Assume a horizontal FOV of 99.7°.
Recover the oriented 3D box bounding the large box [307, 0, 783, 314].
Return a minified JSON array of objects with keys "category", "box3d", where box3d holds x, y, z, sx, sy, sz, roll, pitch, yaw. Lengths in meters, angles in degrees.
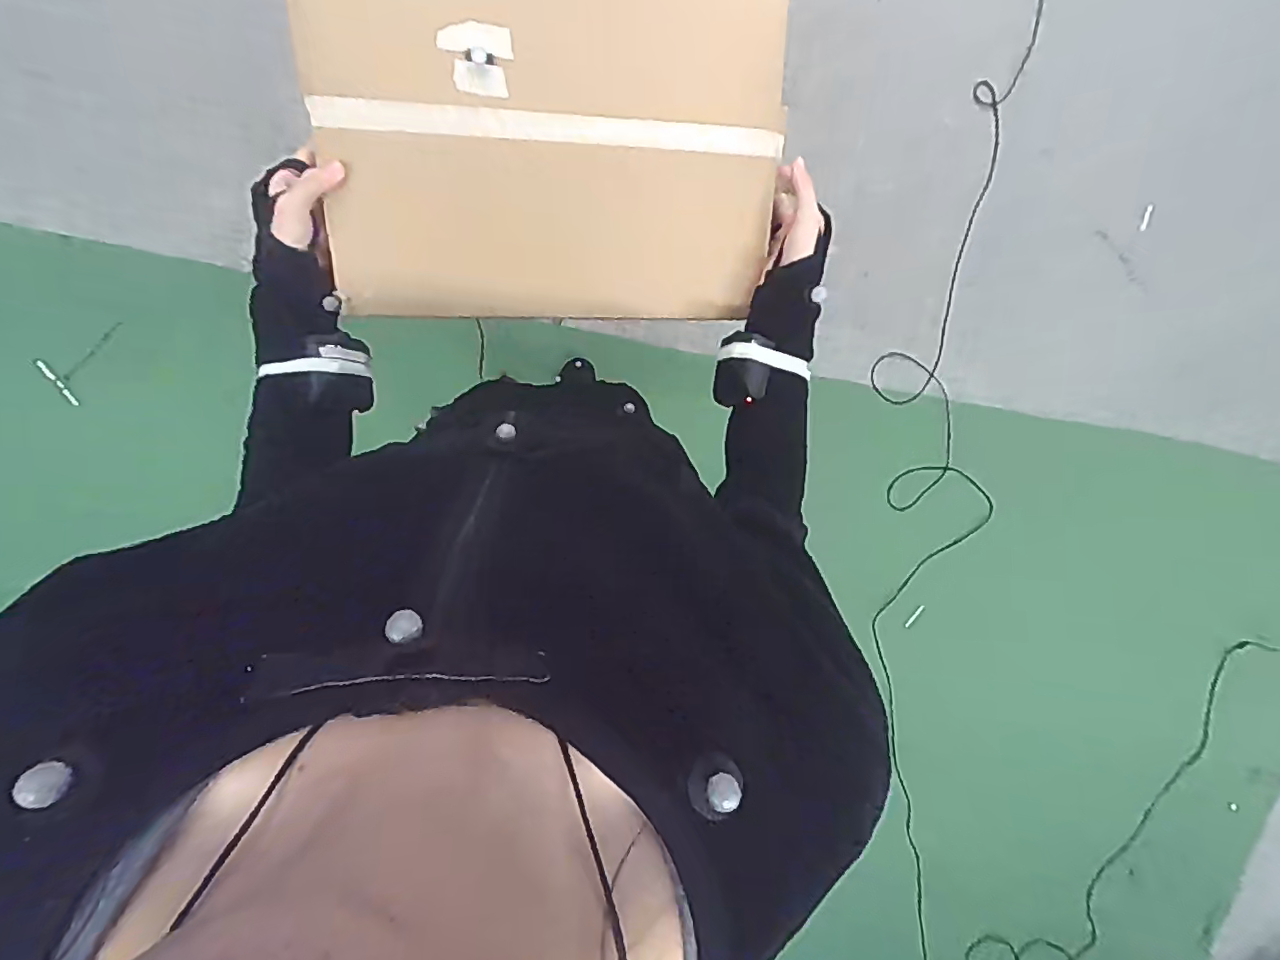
[{"category":"large box","box3d":[-0.096,-0.367,0.622,0.408,0.320,0.320,-3,111,-11]}]
